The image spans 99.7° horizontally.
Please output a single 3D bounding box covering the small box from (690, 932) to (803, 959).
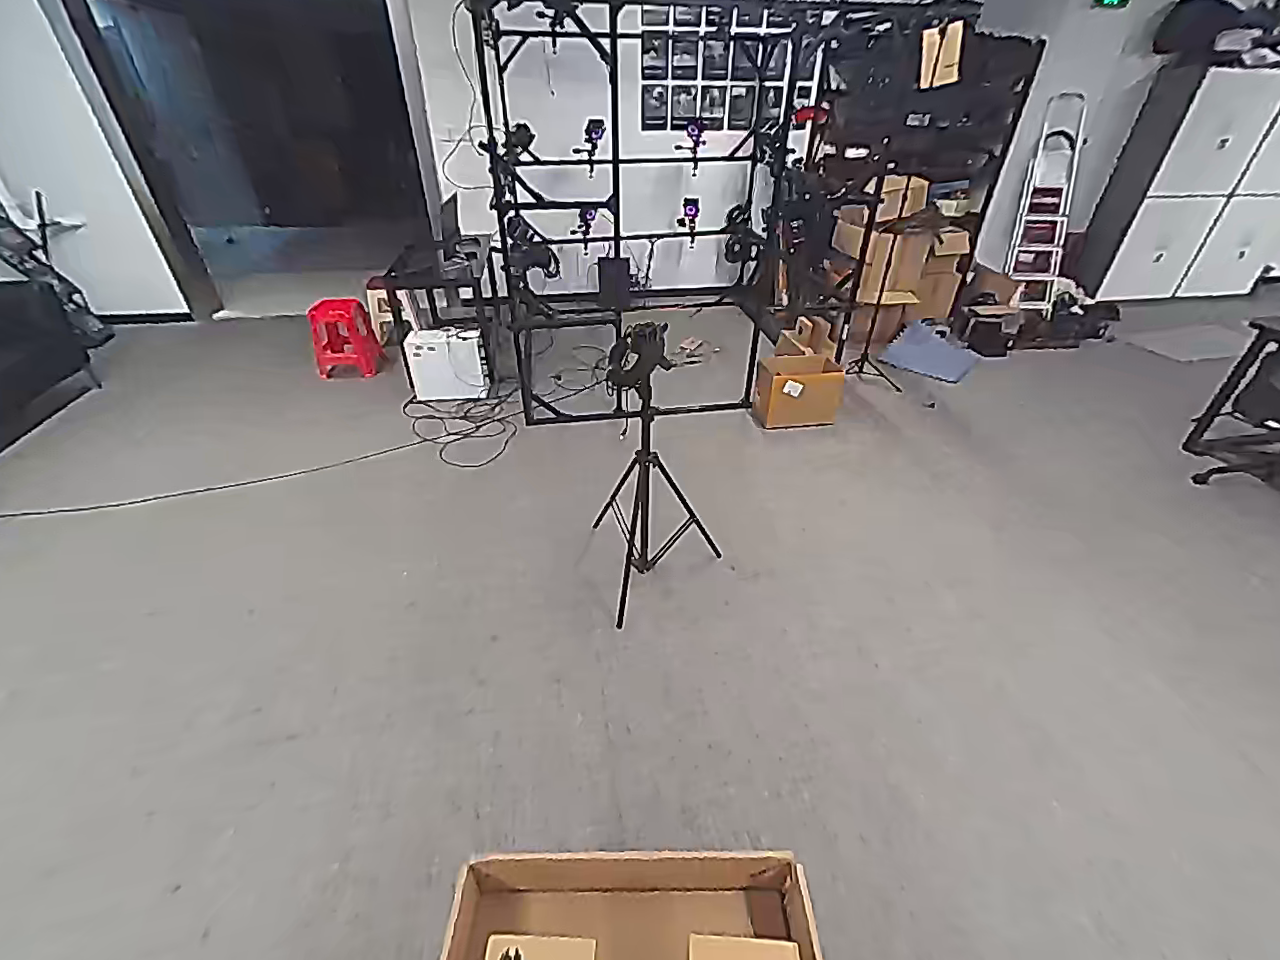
[{"bbox_3d":[0.163,0.842,0.841,0.179,0.176,0.168,2,34,4],"label":"small box"}]
